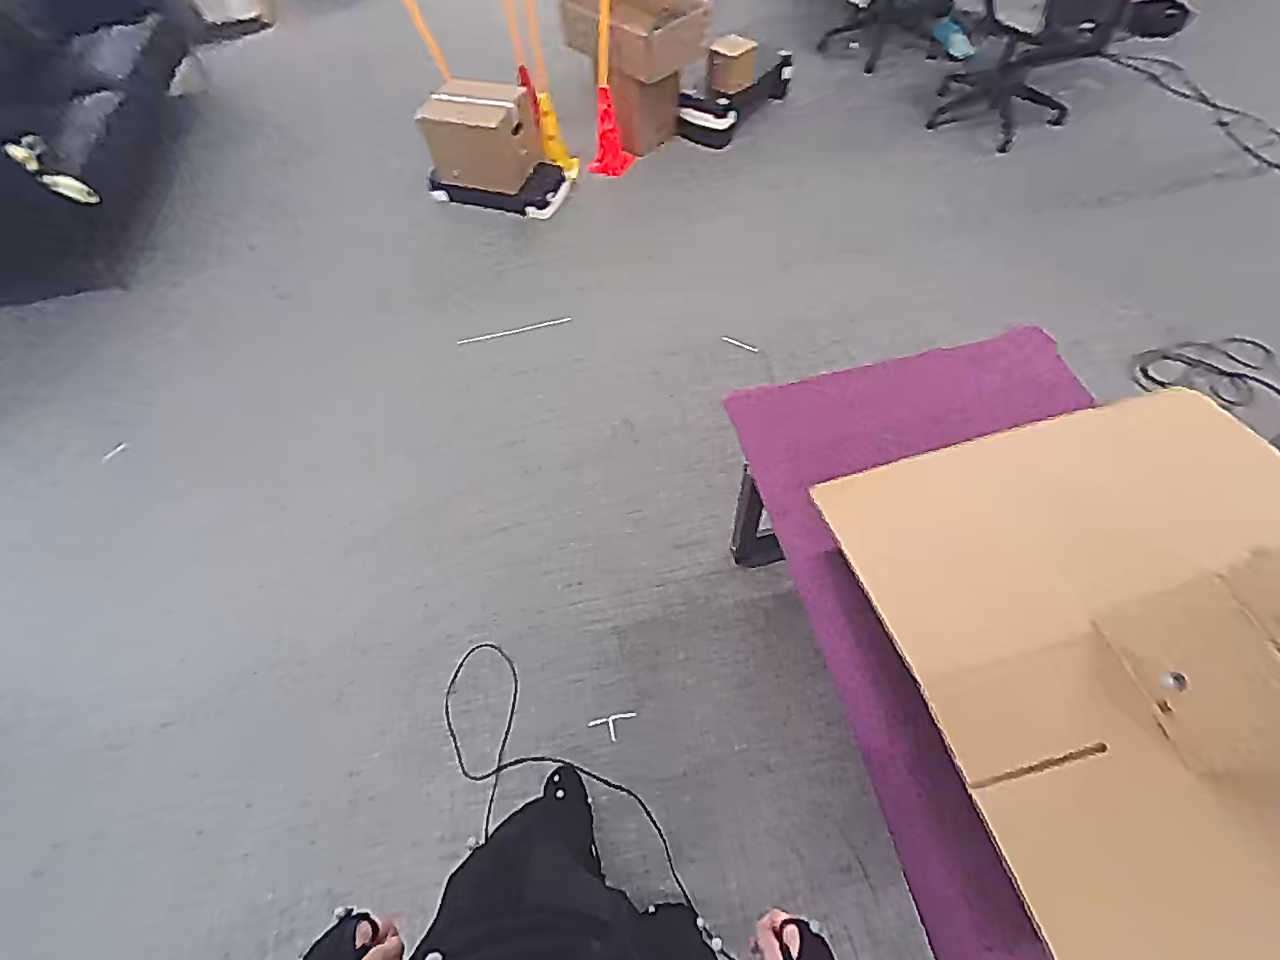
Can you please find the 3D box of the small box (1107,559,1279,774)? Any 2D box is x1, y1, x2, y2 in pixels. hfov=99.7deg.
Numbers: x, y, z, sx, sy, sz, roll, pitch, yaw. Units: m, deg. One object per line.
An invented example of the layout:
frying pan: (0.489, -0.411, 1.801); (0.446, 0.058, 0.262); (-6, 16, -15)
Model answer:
small box: (0.623, 0.171, 0.517); (0.179, 0.176, 0.168); (-13, 61, -2)
